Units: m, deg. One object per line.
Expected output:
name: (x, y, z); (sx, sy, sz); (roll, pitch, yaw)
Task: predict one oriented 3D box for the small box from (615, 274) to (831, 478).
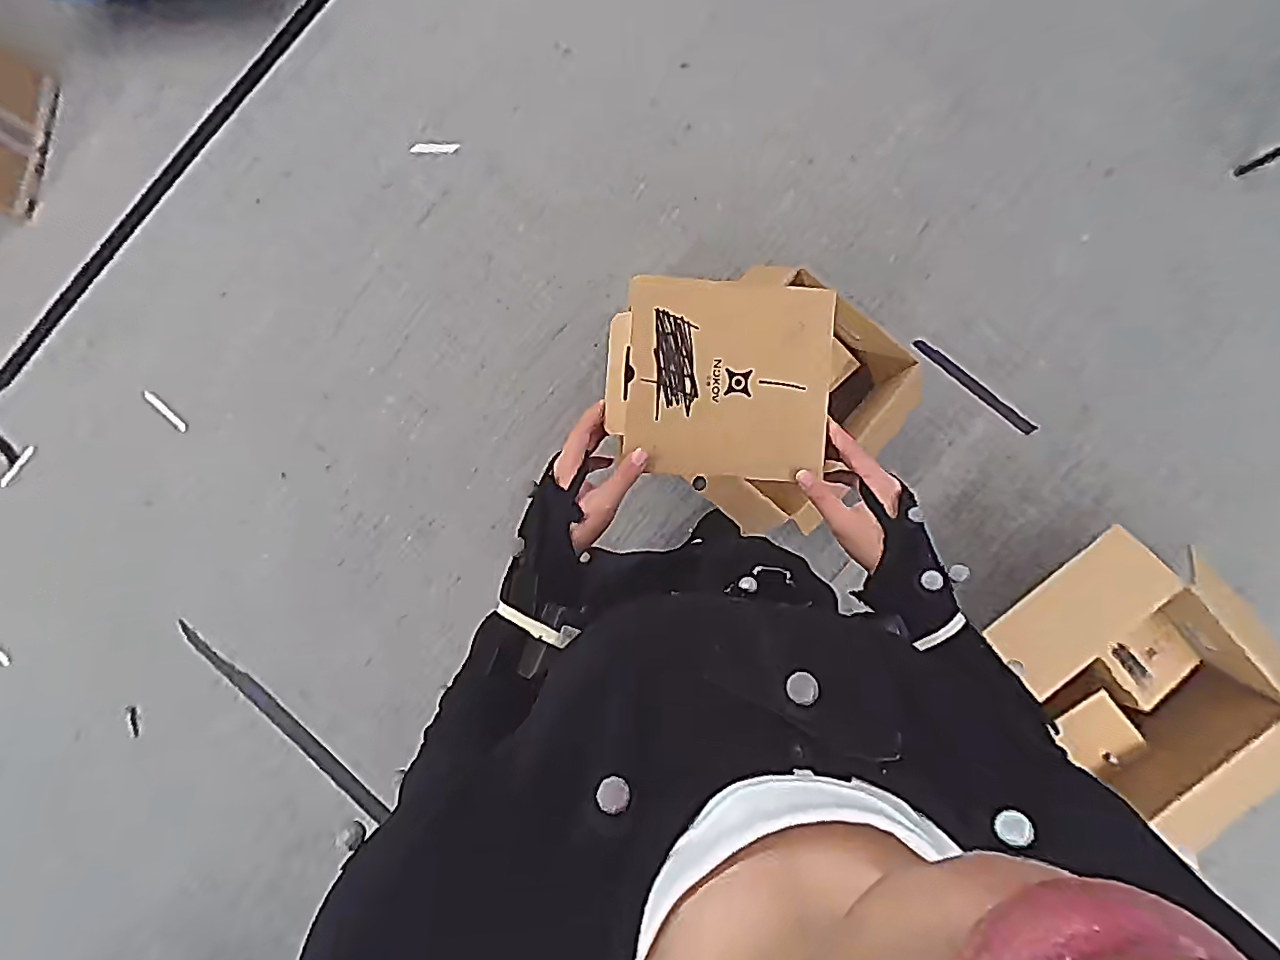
small box: (0.069, -0.090, 0.536); (0.179, 0.176, 0.168); (3, 92, -2)
